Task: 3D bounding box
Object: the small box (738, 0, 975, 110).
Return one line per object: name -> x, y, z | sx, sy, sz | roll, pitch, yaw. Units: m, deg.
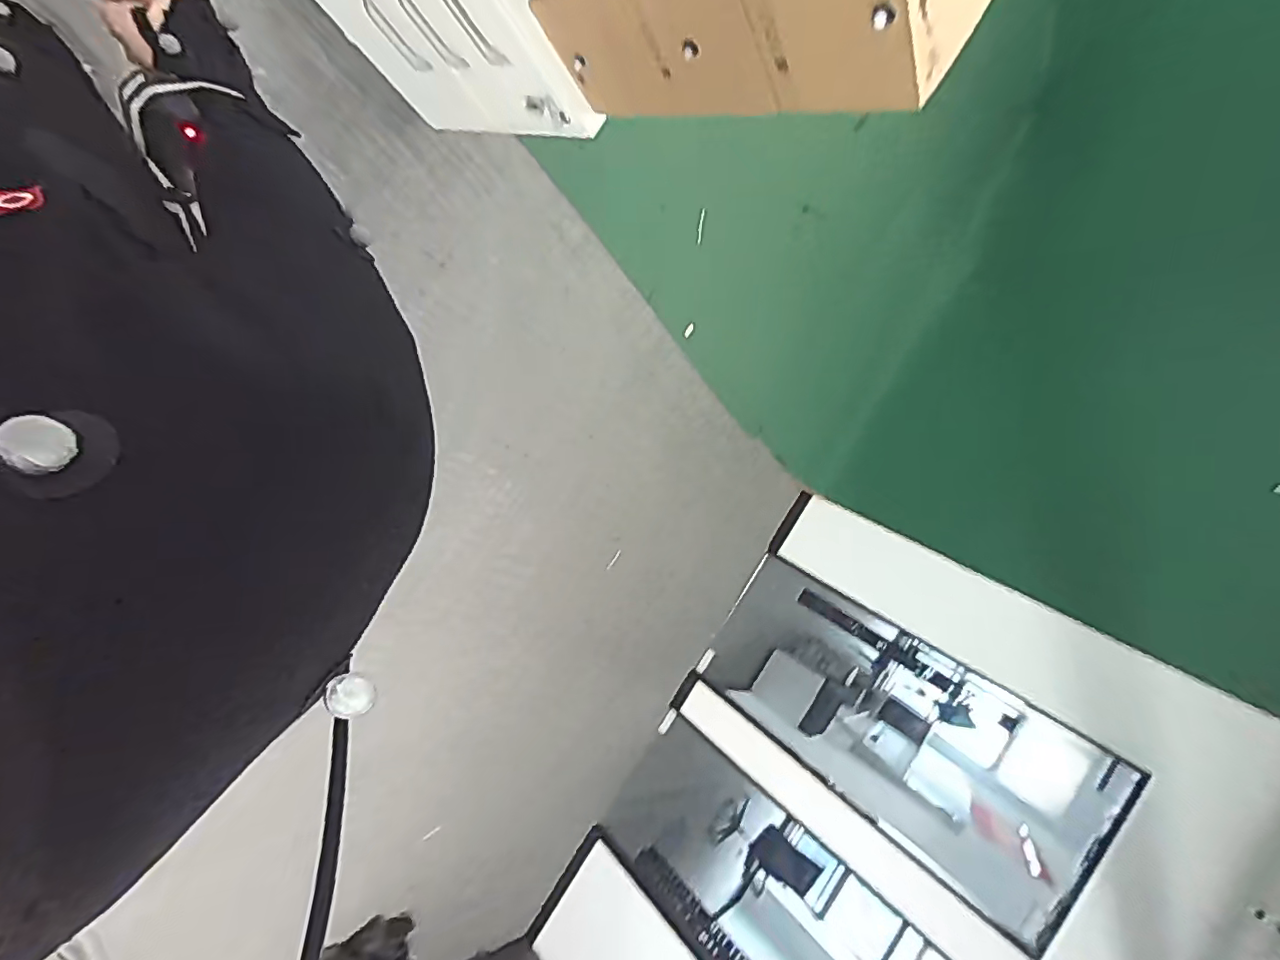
small box -> 0.219, -0.507, 0.533 | 0.179, 0.176, 0.168 | -59, 143, -2
